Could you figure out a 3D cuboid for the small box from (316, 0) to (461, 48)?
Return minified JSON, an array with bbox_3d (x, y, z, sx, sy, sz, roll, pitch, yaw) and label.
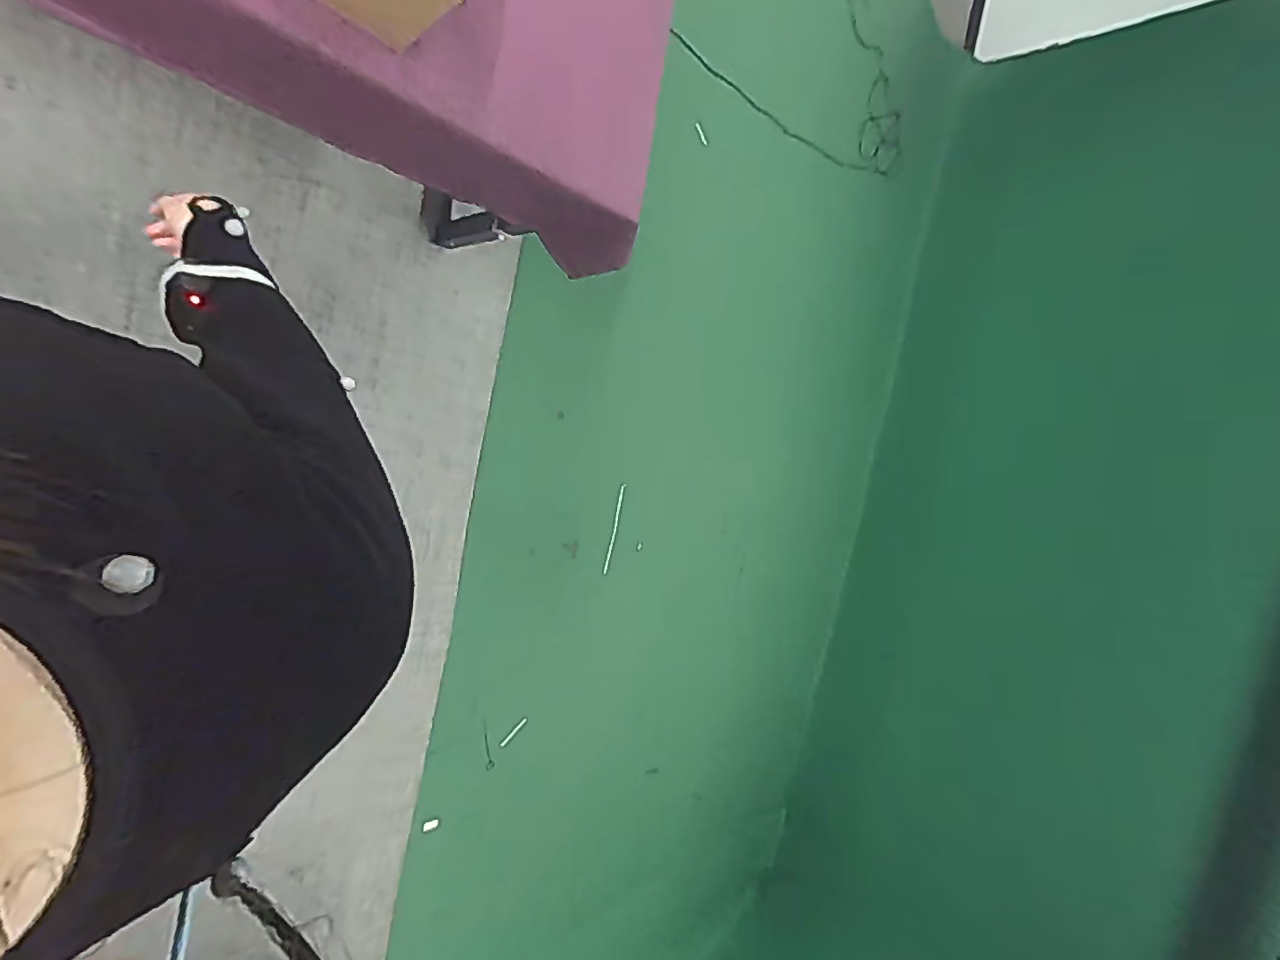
[{"bbox_3d":[-0.294,-0.606,0.565,0.179,0.176,0.168,5,98,-47],"label":"small box"}]
